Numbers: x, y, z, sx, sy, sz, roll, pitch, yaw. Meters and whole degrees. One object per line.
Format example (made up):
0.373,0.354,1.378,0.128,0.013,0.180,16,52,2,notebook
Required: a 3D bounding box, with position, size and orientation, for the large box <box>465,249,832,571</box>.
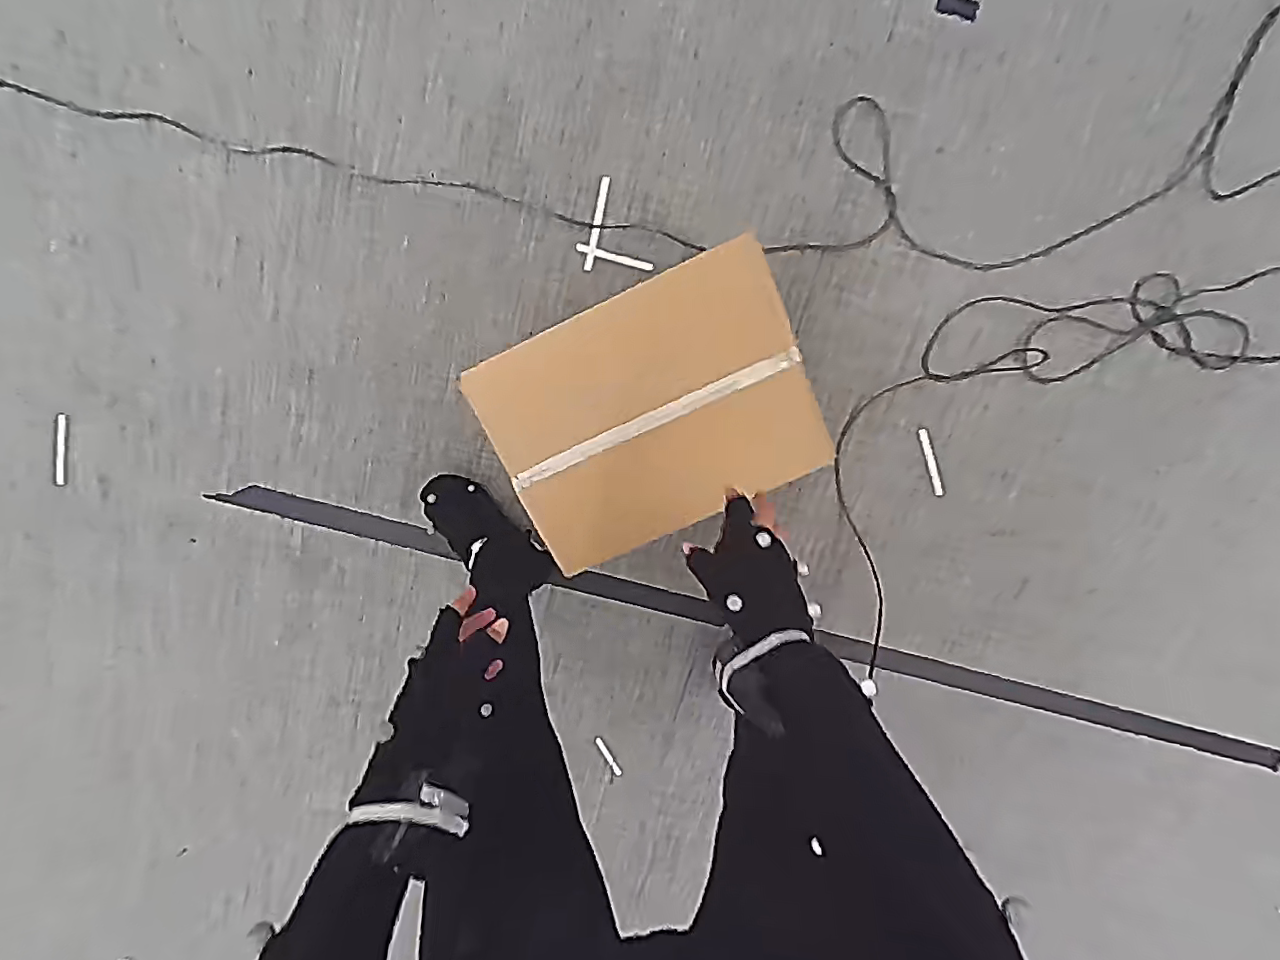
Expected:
0.015,-0.114,0.832,0.408,0.320,0.320,-22,109,8,large box
